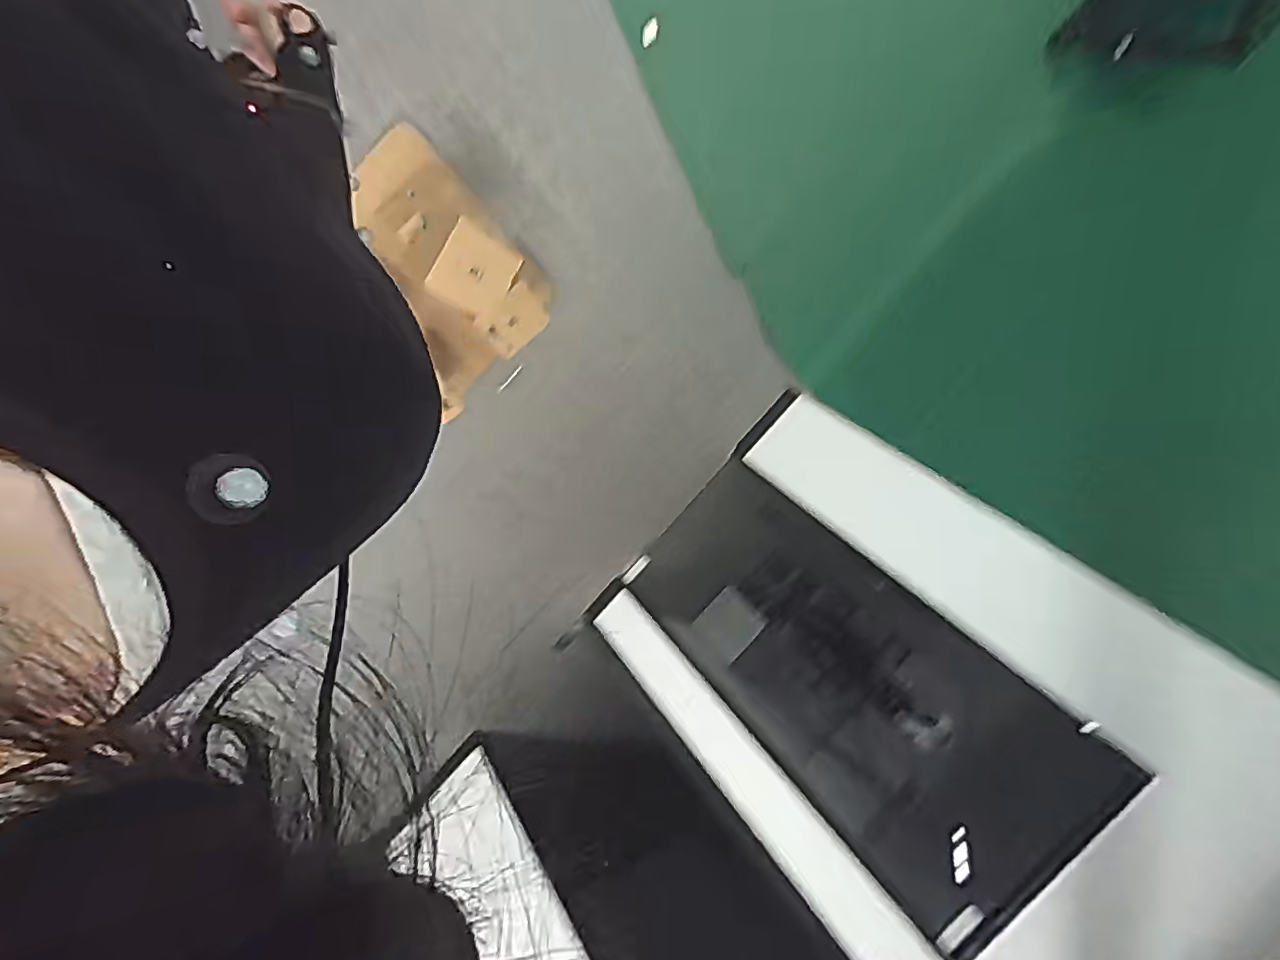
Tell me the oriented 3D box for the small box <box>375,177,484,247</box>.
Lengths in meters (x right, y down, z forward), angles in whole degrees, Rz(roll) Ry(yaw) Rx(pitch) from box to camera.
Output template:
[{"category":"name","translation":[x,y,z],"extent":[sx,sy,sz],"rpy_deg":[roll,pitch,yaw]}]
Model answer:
[{"category":"small box","translation":[-0.505,-0.603,1.312],"extent":[0.168,0.176,0.179],"rpy_deg":[-43,146,-3]}]

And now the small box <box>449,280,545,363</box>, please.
[{"category":"small box","translation":[-0.410,-0.477,1.539],"extent":[0.179,0.176,0.168],"rpy_deg":[-43,146,-5]}]

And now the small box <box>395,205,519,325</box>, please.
[{"category":"small box","translation":[-0.417,-0.491,1.228],"extent":[0.168,0.176,0.179],"rpy_deg":[-54,145,11]}]

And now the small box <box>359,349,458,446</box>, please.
[{"category":"small box","translation":[-0.652,-0.236,1.520],"extent":[0.179,0.176,0.168],"rpy_deg":[-36,144,-11]}]
